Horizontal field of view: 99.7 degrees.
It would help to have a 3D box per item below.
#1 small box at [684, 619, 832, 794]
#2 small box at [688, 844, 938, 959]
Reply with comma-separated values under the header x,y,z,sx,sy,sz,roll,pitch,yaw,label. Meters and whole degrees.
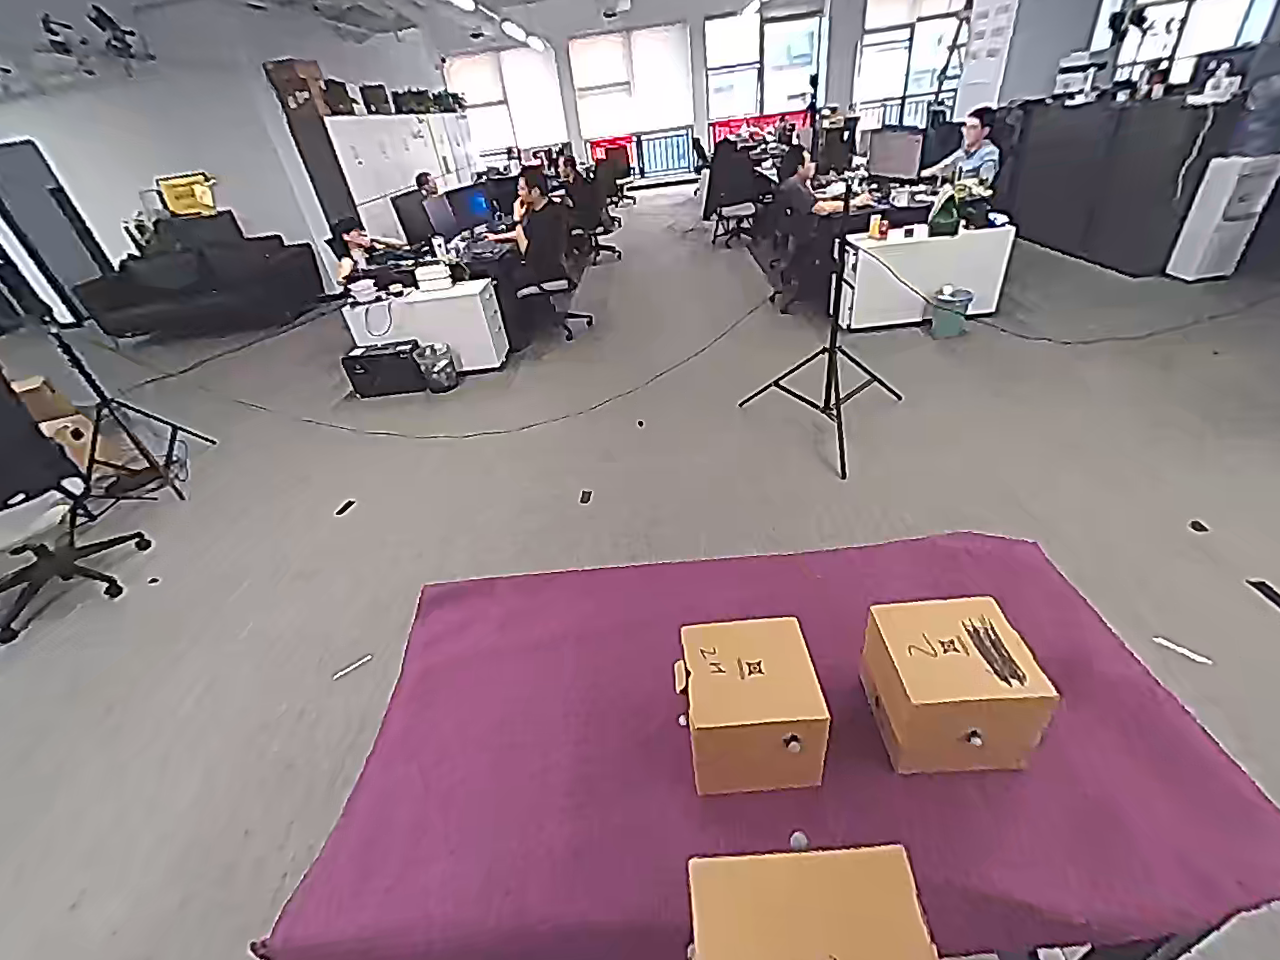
x,y,z,sx,sy,sz,roll,pitch,yaw,label
0.160,0.326,0.782,0.179,0.176,0.168,-7,33,3,small box
0.143,0.415,0.446,0.179,0.176,0.168,-9,48,6,small box
